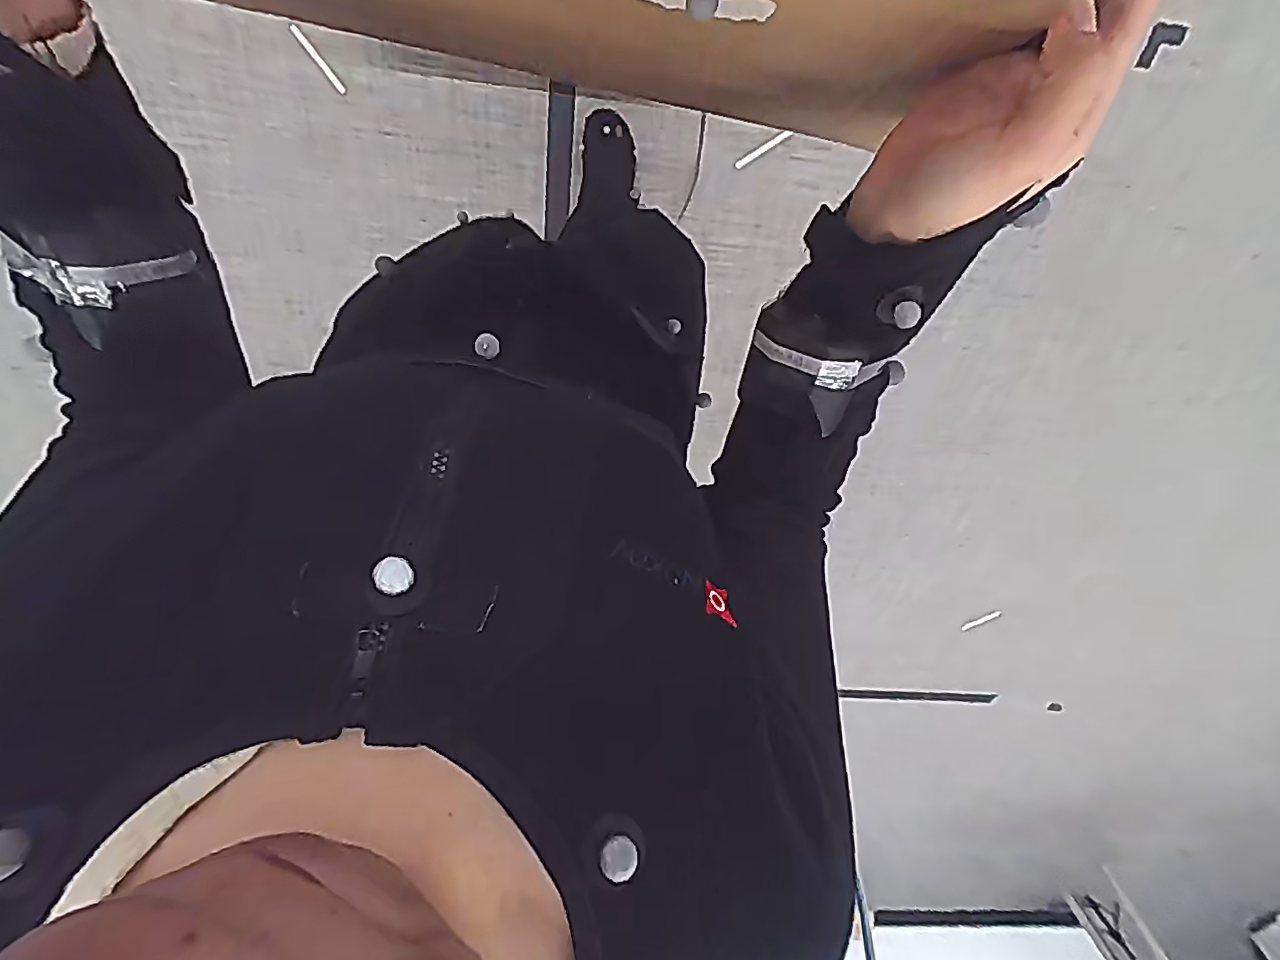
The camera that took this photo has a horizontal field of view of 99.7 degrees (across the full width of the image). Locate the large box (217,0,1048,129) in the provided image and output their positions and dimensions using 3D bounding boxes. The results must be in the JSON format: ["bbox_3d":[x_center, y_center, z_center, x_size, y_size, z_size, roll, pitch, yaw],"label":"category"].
[{"bbox_3d":[-0.014,-0.354,0.134,0.408,0.320,0.320,6,101,-8],"label":"large box"}]
